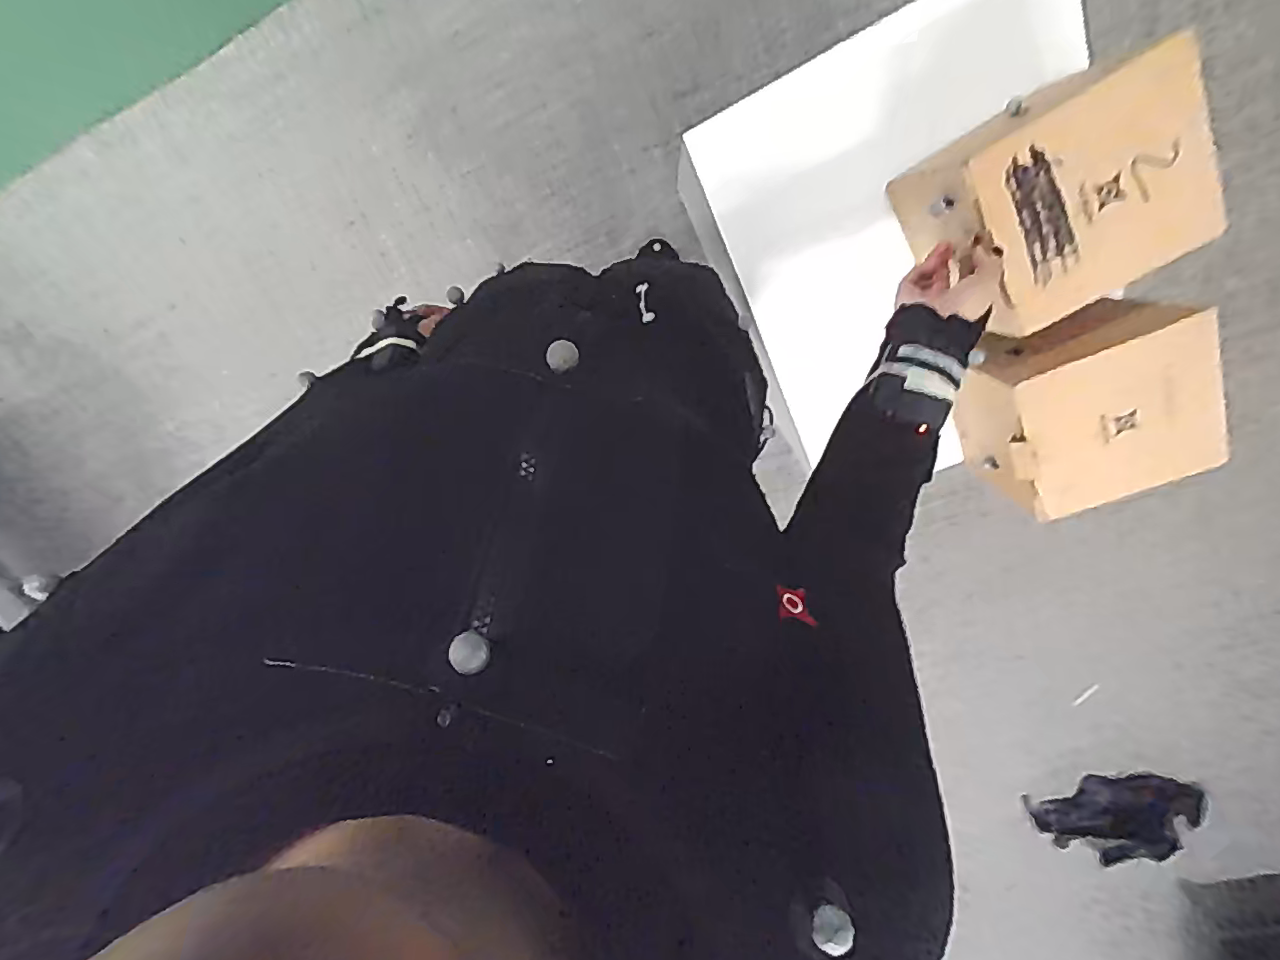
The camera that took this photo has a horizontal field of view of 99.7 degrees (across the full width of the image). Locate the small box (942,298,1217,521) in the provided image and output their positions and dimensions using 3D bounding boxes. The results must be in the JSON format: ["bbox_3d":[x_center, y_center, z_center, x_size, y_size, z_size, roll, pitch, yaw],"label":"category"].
[{"bbox_3d":[0.468,-0.086,0.604,0.179,0.176,0.168,-24,111,12],"label":"small box"}]
